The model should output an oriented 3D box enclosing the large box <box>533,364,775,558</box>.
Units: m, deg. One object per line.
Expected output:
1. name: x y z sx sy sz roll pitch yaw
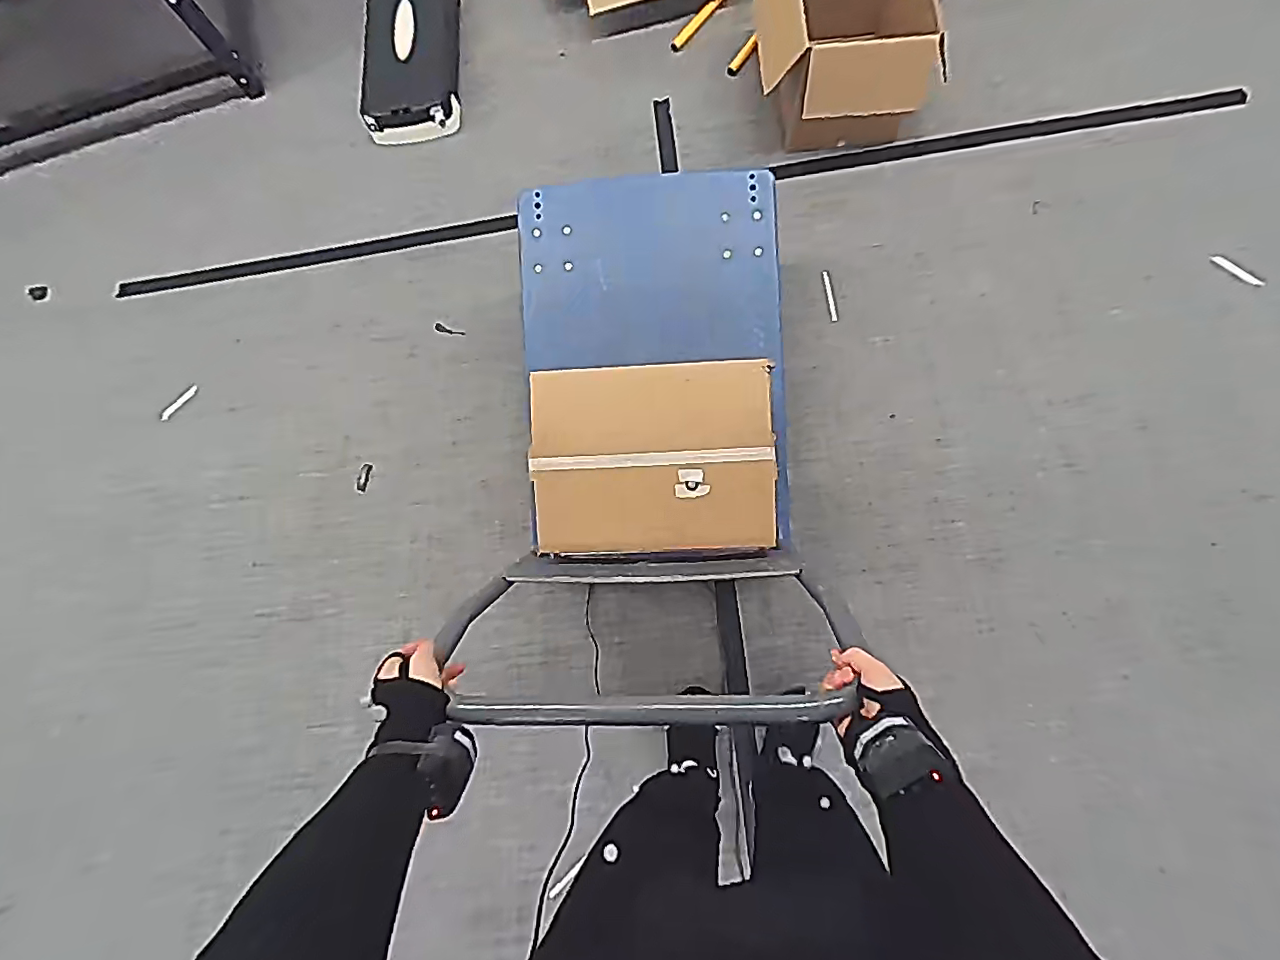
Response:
1. large box: 0.030 -0.033 1.066 0.408 0.320 0.320 -3 92 4
